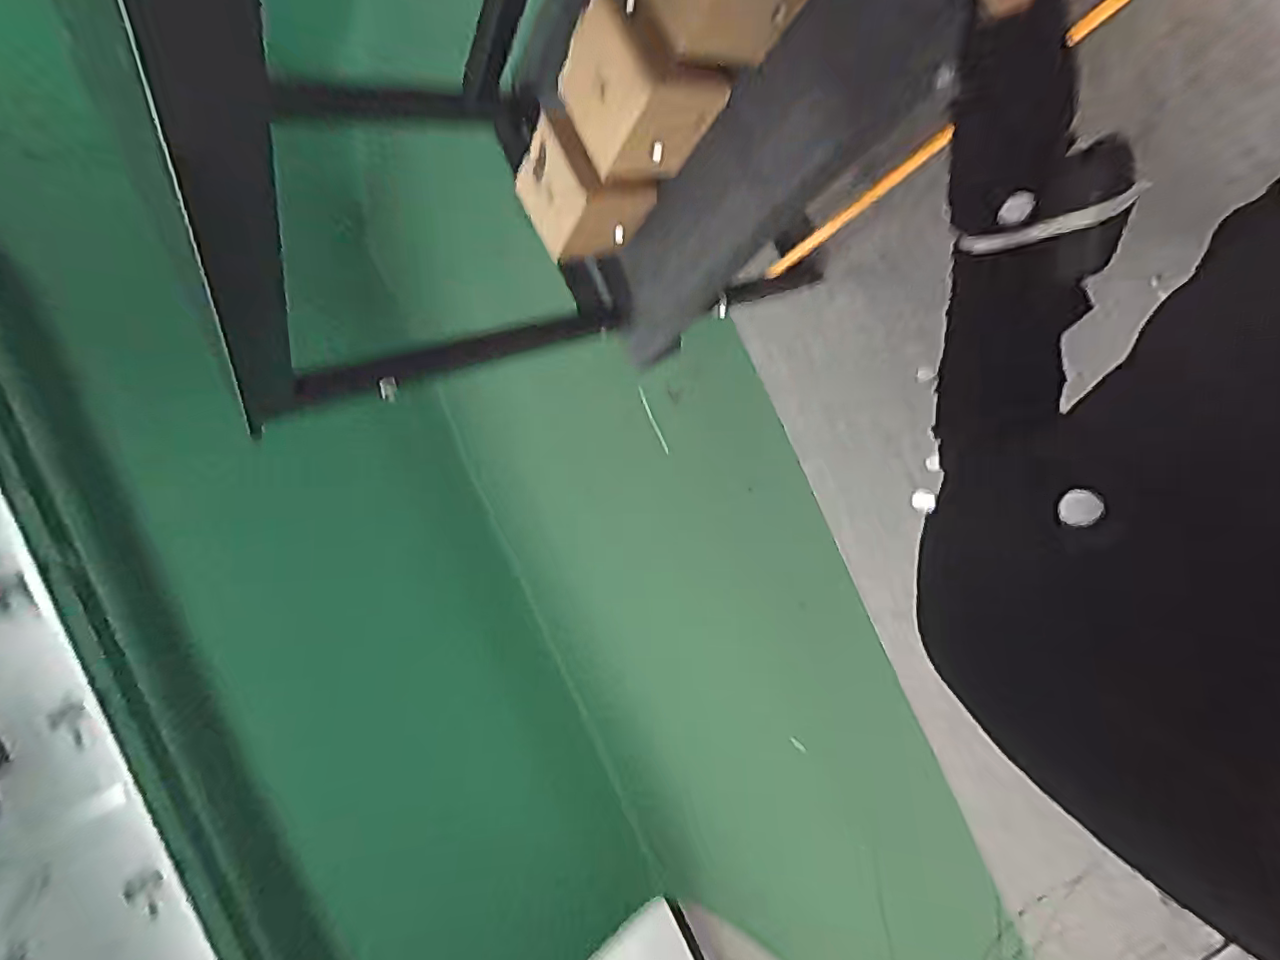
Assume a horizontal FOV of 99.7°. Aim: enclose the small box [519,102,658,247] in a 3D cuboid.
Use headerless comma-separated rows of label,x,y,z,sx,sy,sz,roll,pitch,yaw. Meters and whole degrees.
small box,-0.099,-0.573,1.027,0.168,0.176,0.179,-30,86,56
